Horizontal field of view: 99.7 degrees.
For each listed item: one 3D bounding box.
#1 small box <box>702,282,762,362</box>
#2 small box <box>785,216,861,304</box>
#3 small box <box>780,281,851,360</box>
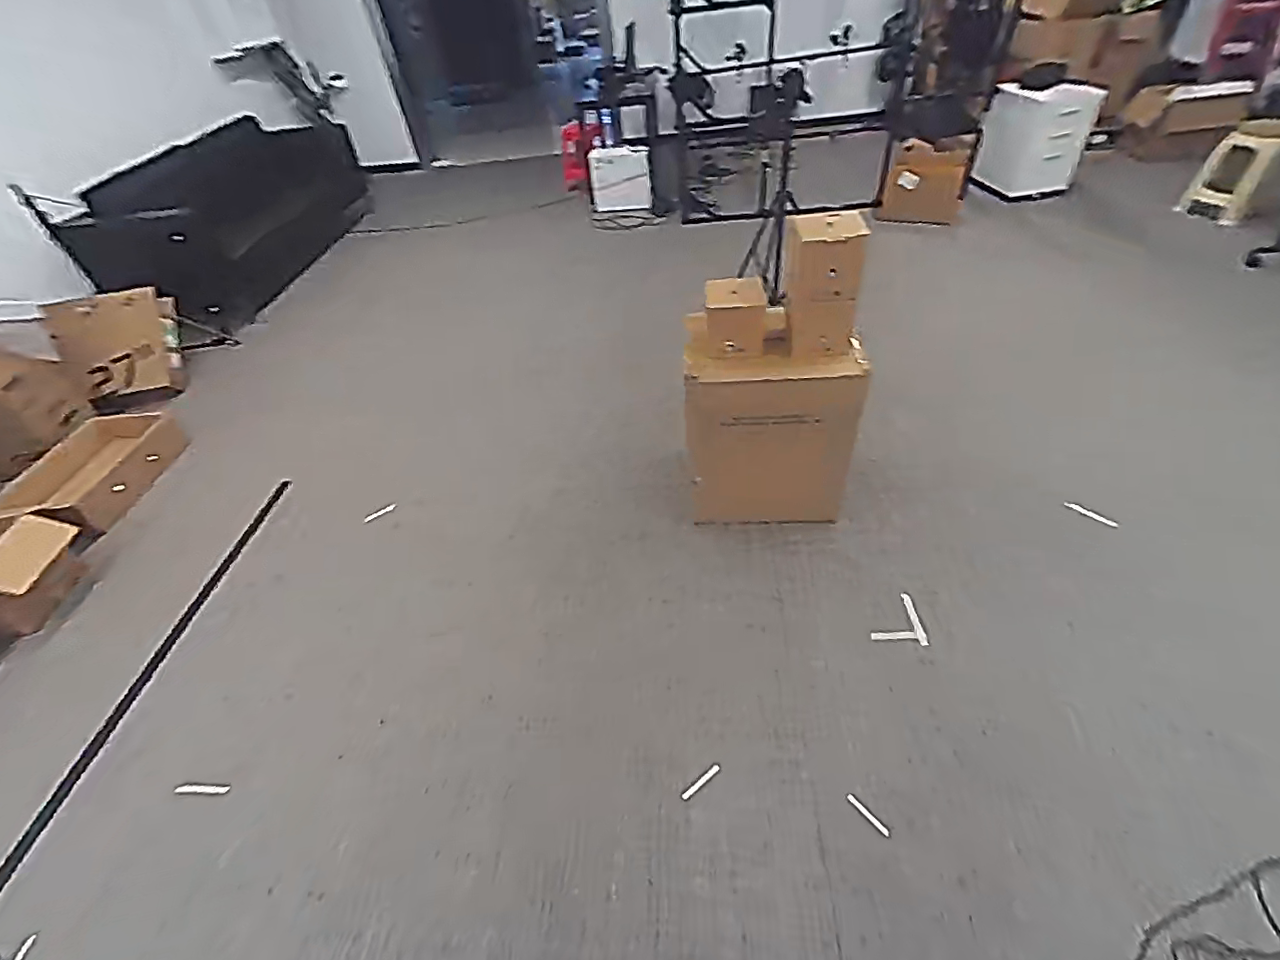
[{"bbox_3d":[0.268,-0.472,1.618,0.168,0.176,0.179,-2,46,6],"label":"small box"},{"bbox_3d":[0.490,-0.591,1.469,0.168,0.176,0.179,-2,45,8],"label":"small box"},{"bbox_3d":[0.505,-0.472,1.581,0.168,0.176,0.179,-3,45,8],"label":"small box"}]
